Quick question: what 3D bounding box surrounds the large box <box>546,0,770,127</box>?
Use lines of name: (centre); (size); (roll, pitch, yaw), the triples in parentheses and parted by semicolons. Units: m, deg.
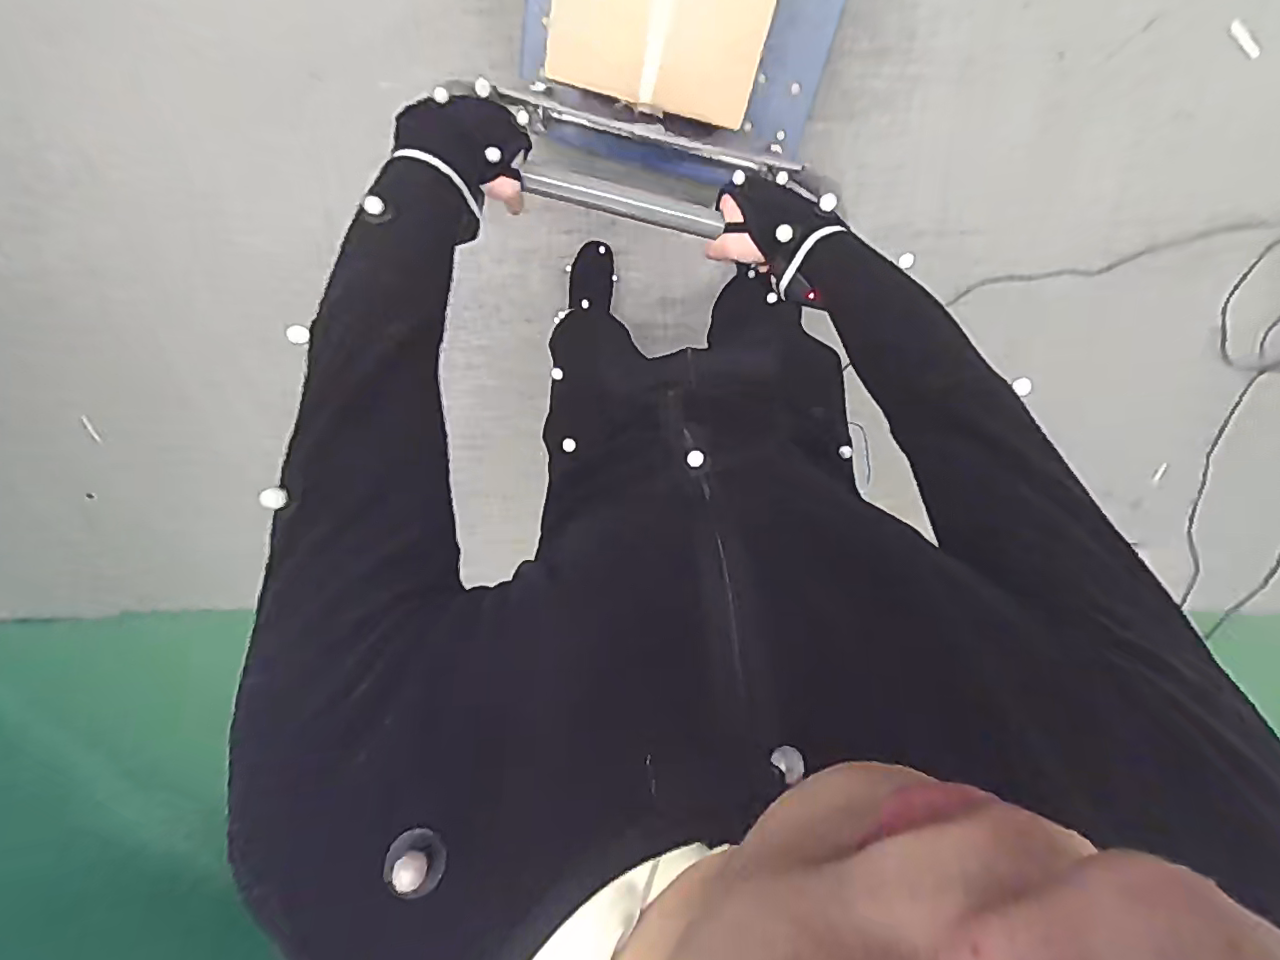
large box: (0.053, -0.833, 0.863); (0.320, 0.320, 0.408); (12, 122, -5)
